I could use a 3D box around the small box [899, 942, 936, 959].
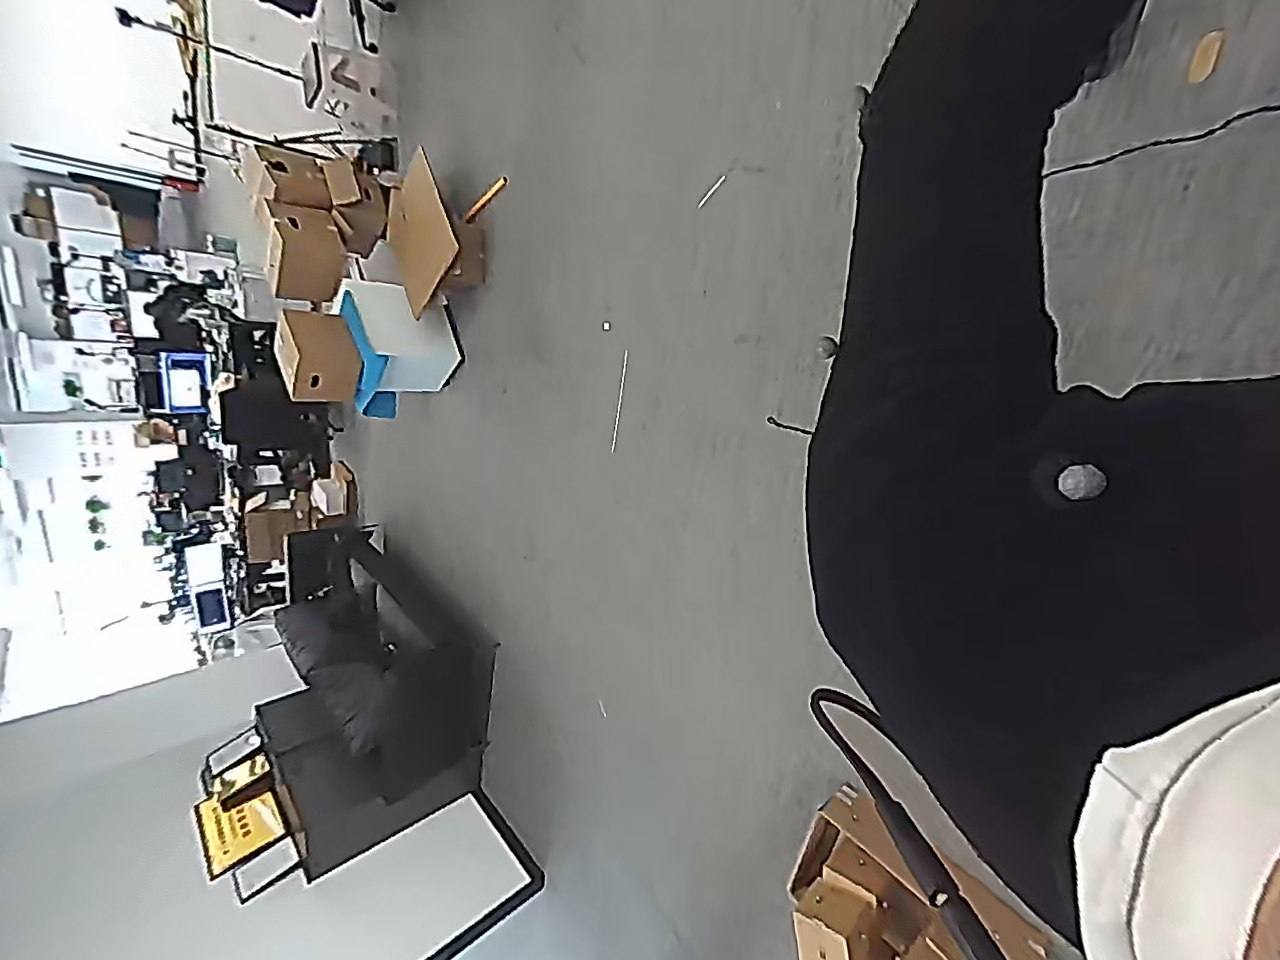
[{"bbox_3d":[0.742,1.384,1.413,0.179,0.176,0.168,33,119,39],"label":"small box"}]

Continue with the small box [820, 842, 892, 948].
[{"bbox_3d":[0.678,1.294,1.699,0.168,0.176,0.179,7,101,44],"label":"small box"}]

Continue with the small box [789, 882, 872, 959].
[{"bbox_3d":[0.563,1.341,1.589,0.168,0.176,0.179,-8,90,45],"label":"small box"}]
